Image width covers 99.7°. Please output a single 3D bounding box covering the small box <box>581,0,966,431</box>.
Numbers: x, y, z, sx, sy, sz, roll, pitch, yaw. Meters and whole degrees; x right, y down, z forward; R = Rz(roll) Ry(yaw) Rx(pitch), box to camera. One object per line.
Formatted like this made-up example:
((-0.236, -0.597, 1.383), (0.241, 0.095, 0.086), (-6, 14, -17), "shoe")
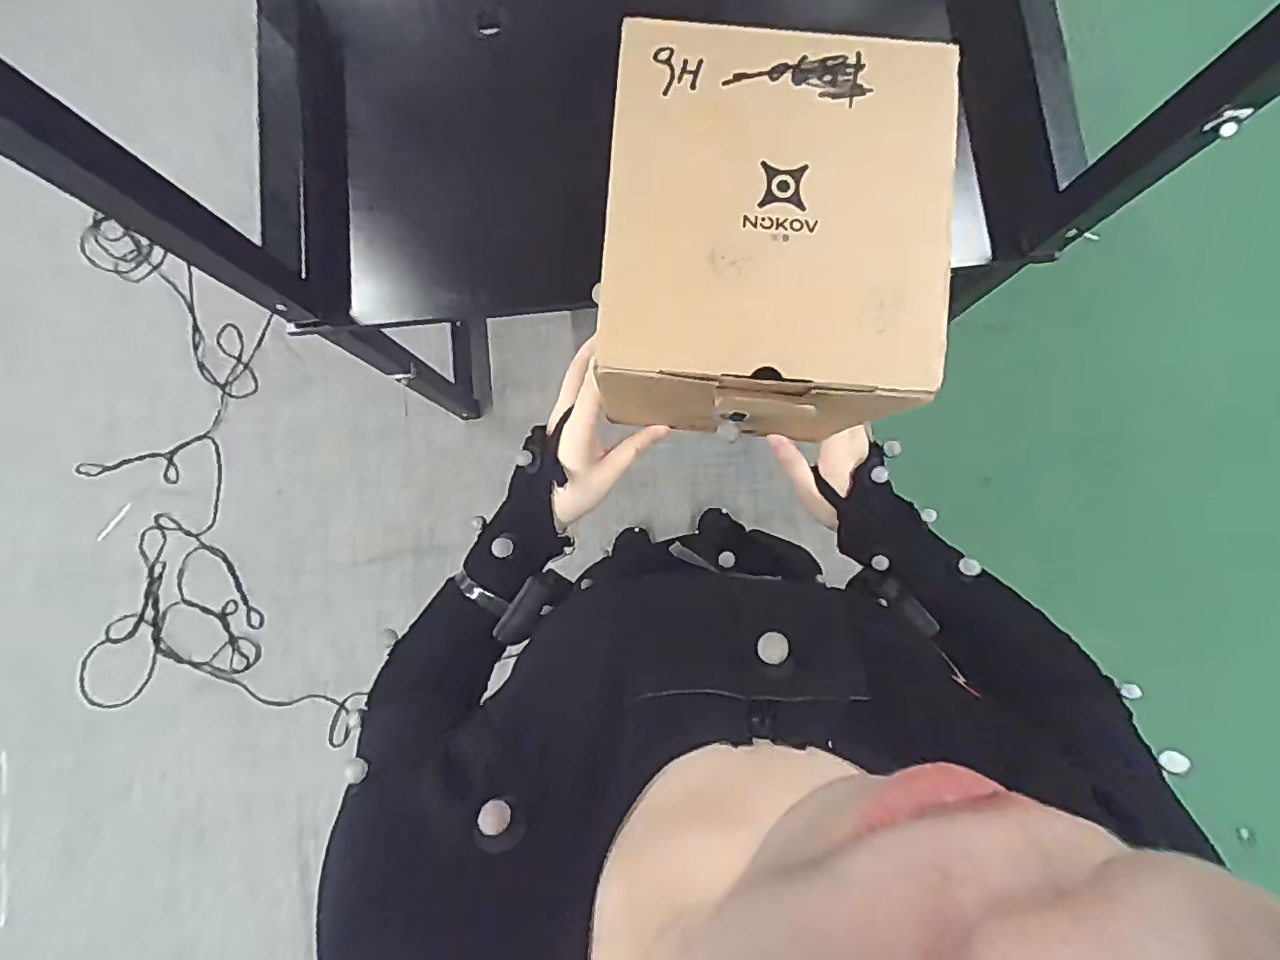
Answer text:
((0.063, -0.129, 0.328), (0.168, 0.176, 0.179), (5, 87, 1), "small box")
